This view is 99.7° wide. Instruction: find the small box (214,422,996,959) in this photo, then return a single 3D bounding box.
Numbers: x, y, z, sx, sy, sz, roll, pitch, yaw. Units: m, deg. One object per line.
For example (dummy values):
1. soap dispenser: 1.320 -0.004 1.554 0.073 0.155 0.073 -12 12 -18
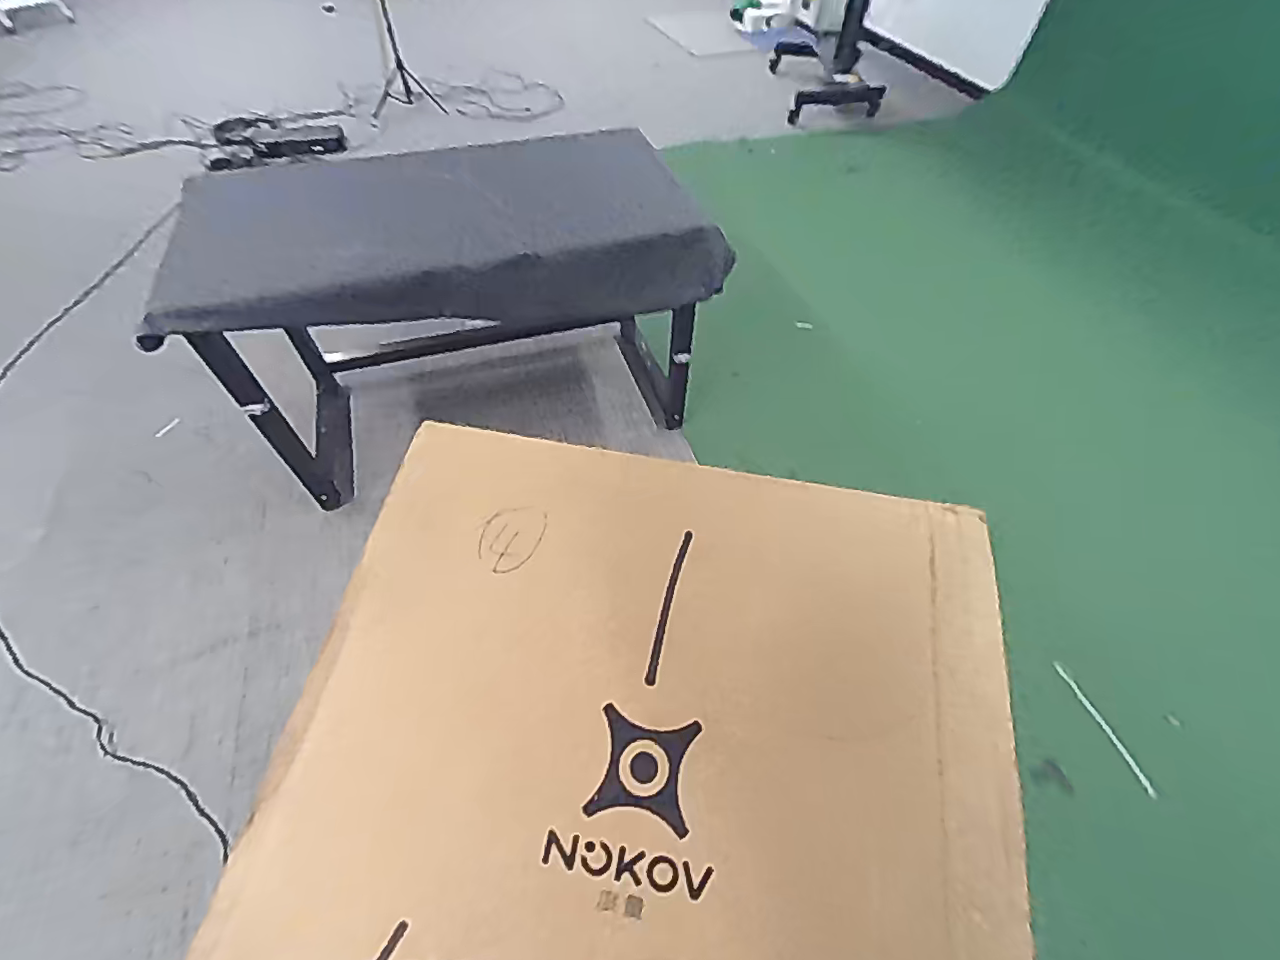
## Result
1. small box: 0.001 0.105 0.203 0.168 0.176 0.179 9 64 5
